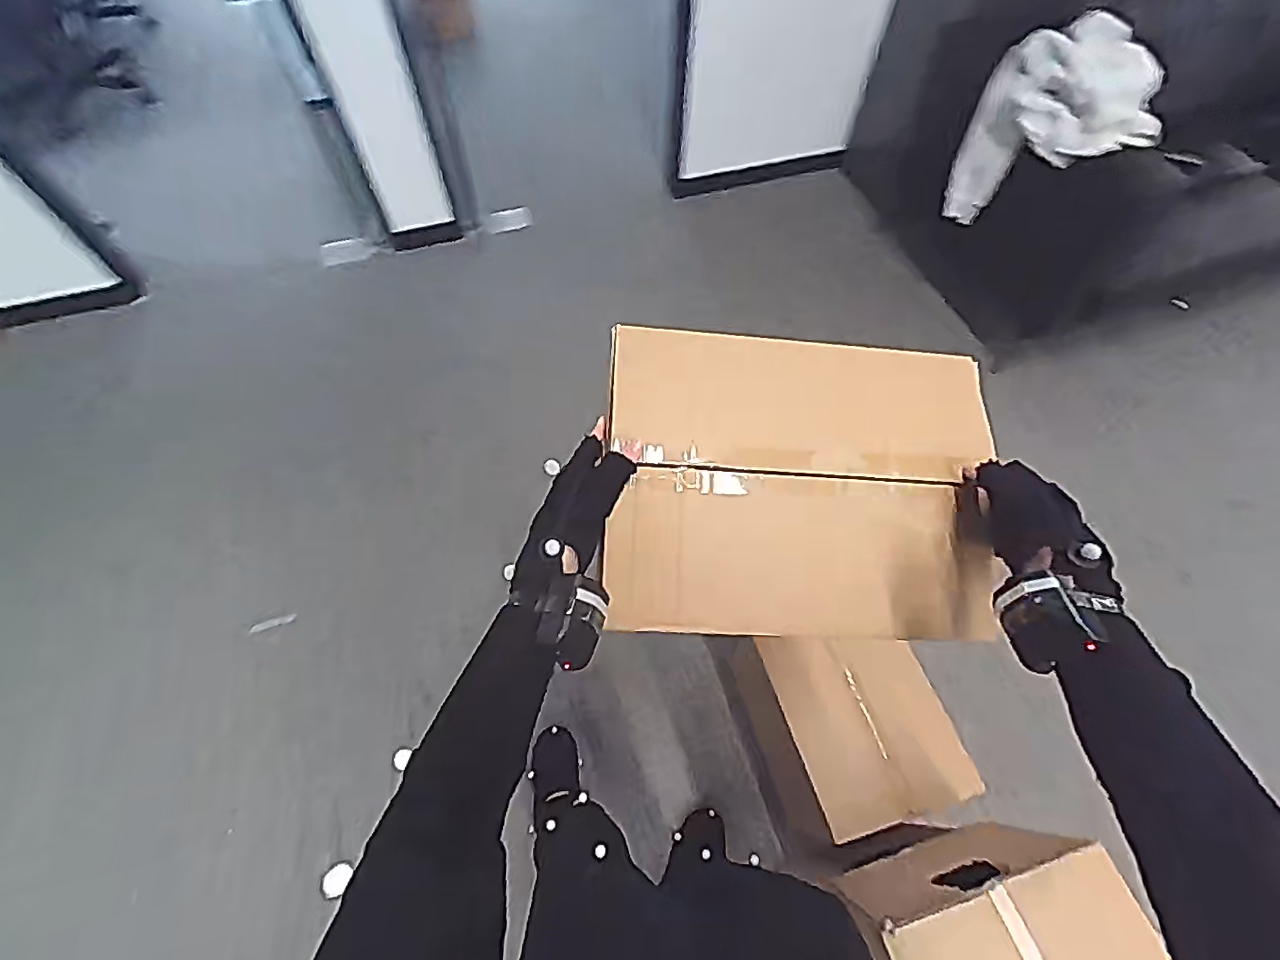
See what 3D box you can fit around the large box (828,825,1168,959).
[{"bbox_3d":[0.504,0.737,0.708,0.320,0.320,0.408,-17,61,-5],"label":"large box"}]
